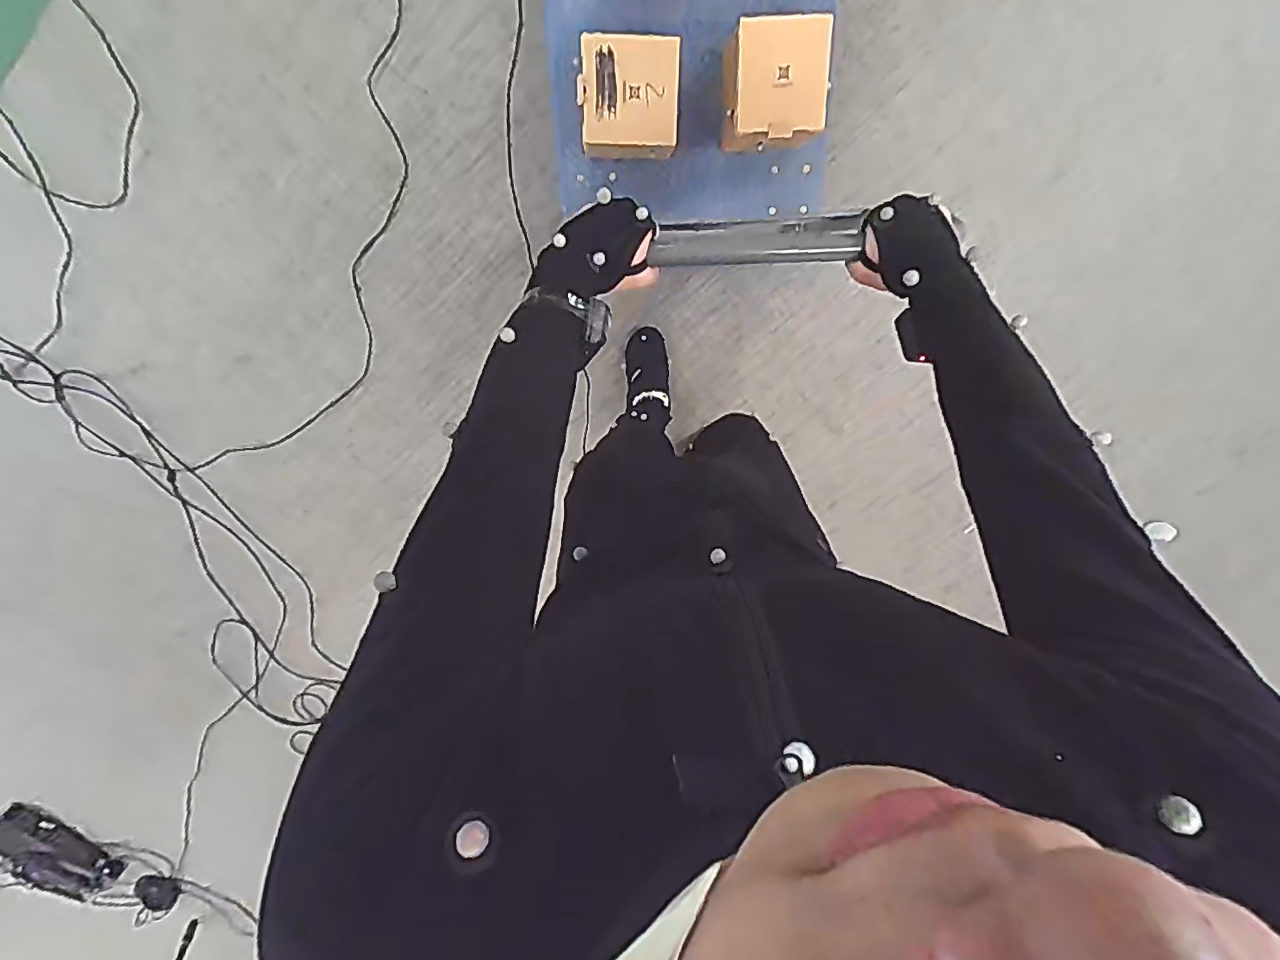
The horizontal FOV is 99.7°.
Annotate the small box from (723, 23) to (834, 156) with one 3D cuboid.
[{"bbox_3d":[0.257,-0.744,1.046,0.168,0.176,0.179,-3,113,-1],"label":"small box"}]
